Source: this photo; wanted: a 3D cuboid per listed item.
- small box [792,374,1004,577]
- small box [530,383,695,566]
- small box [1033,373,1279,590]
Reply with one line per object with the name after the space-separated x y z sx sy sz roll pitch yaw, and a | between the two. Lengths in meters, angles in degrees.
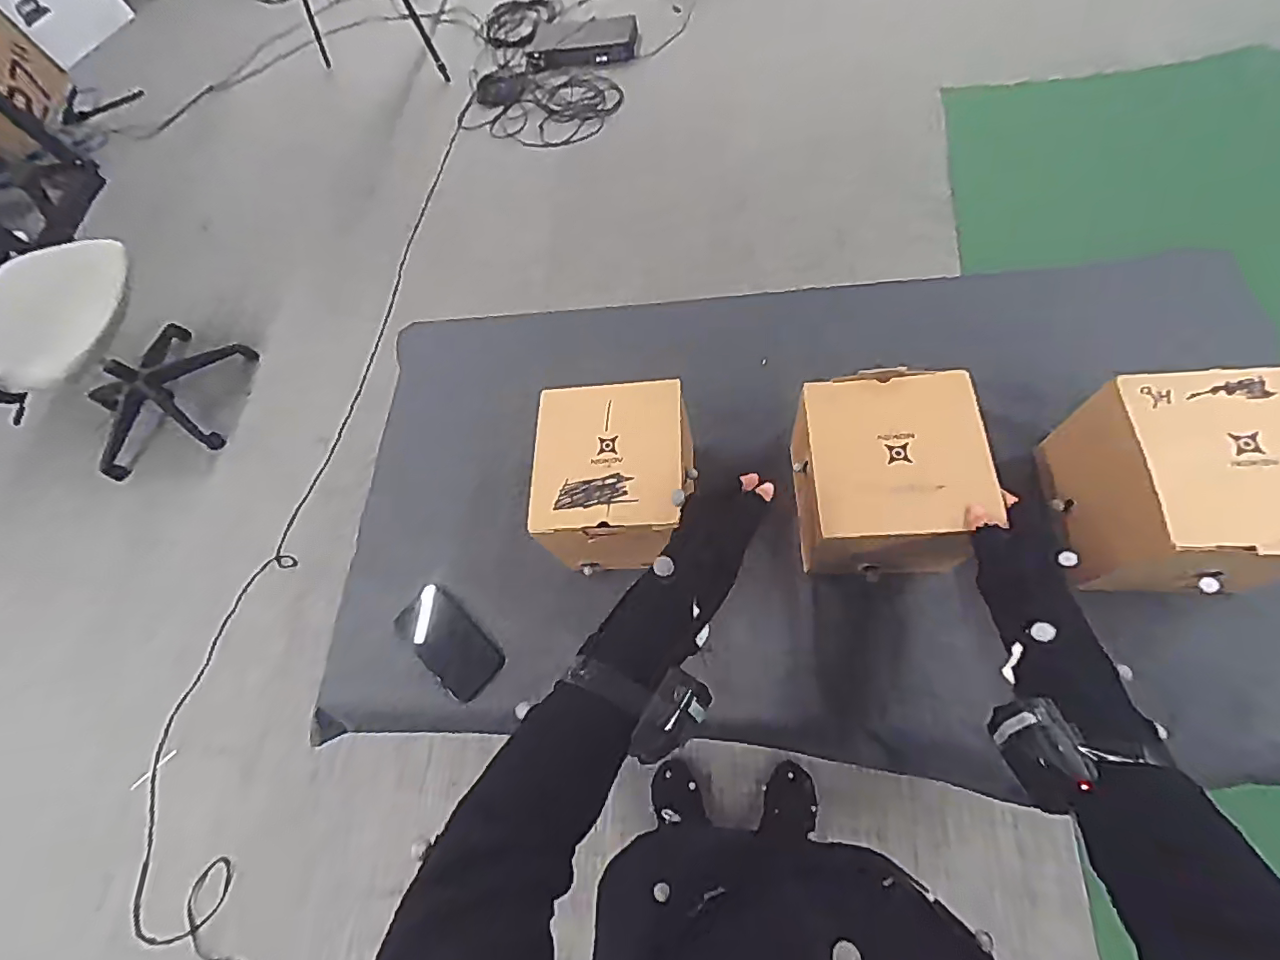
0.269 0.004 0.613 0.168 0.176 0.179 -4 67 10 | small box
-0.021 0.005 0.663 0.168 0.176 0.179 -3 66 9 | small box
0.547 0.012 0.555 0.168 0.176 0.179 -1 67 10 | small box
